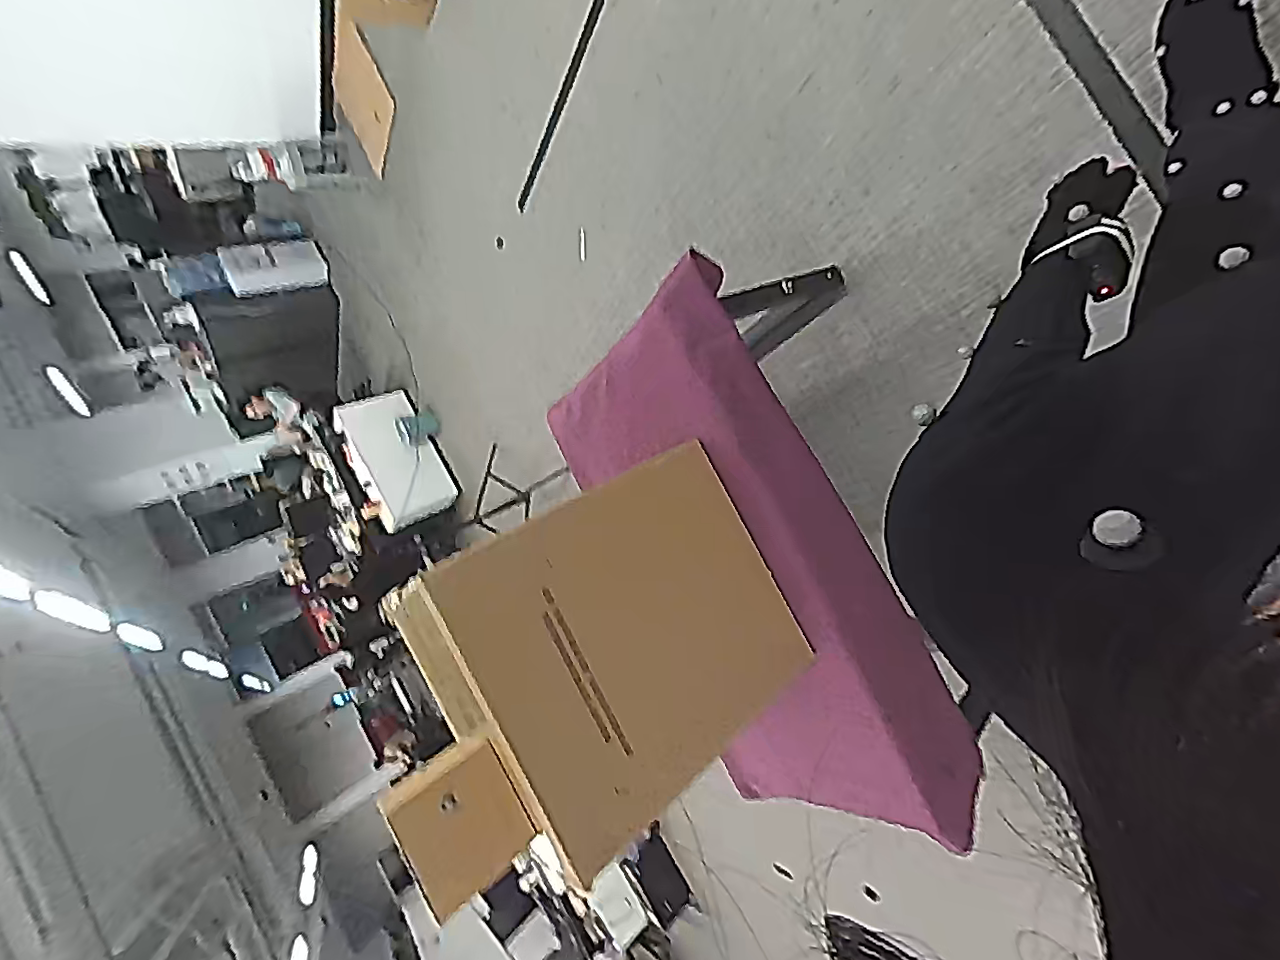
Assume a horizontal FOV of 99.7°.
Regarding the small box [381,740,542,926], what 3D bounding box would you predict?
[{"bbox_3d":[-0.286,0.541,0.863,0.179,0.176,0.168,59,145,6],"label":"small box"}]
